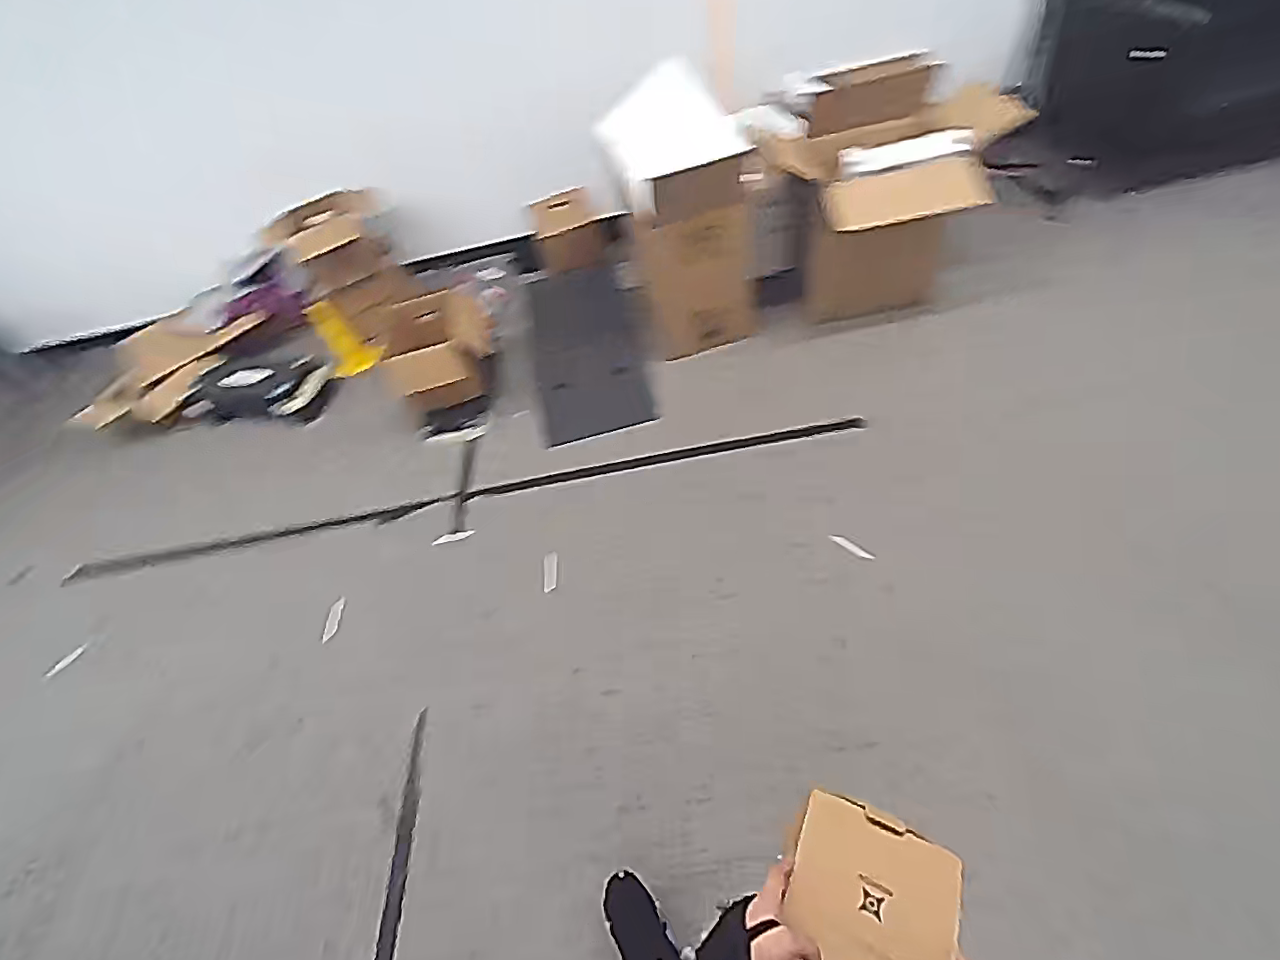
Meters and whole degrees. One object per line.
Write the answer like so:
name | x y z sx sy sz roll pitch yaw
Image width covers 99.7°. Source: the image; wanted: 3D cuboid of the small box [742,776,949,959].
small box | 0.224 0.485 0.607 0.168 0.176 0.179 19 41 20
